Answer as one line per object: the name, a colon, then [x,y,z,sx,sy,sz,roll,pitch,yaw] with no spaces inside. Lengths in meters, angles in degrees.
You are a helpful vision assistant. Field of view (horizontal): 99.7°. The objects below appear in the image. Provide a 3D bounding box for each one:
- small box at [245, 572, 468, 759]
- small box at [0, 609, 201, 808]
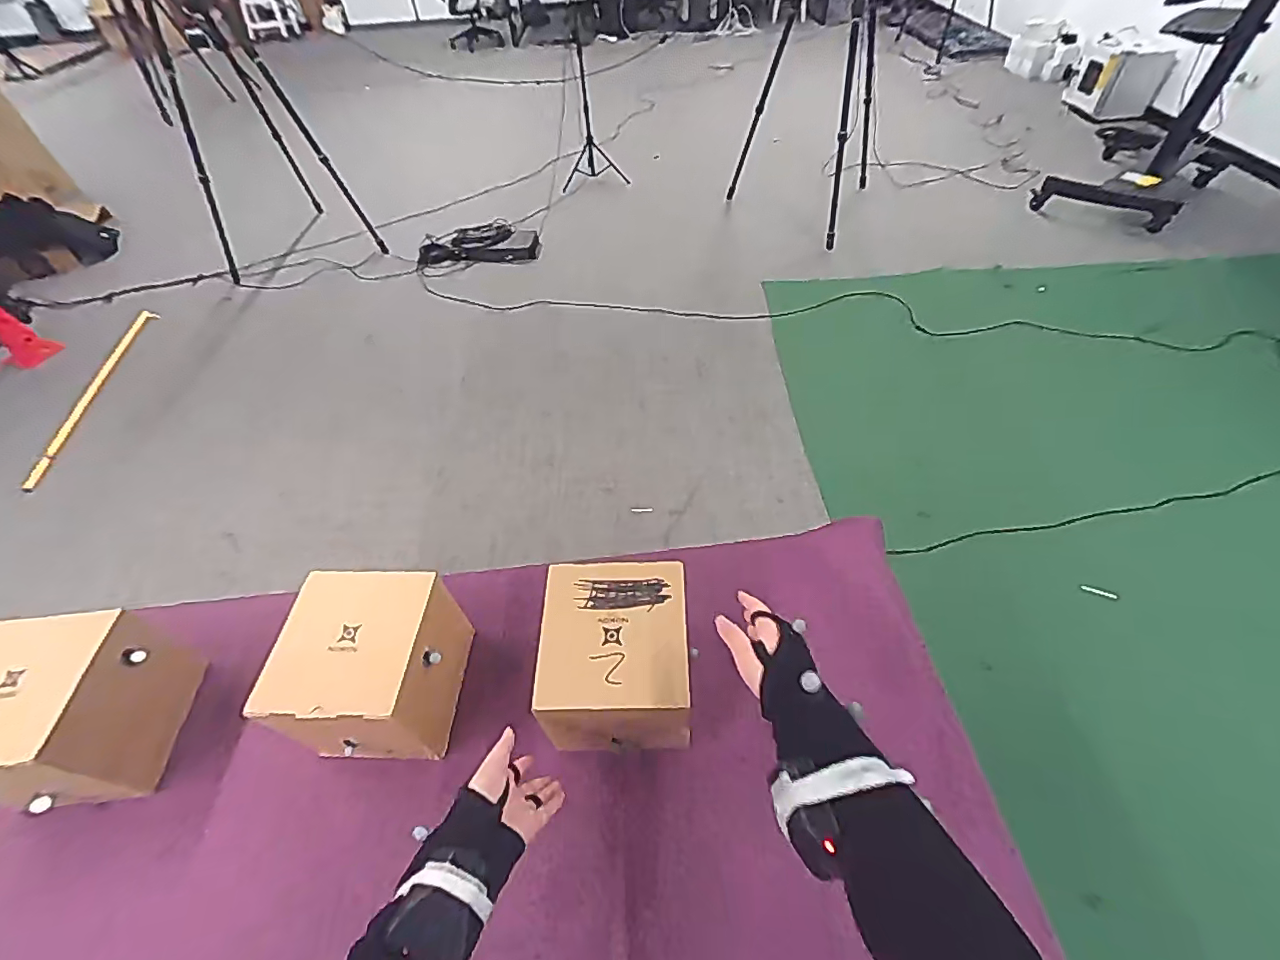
small box: [-0.333,0.234,0.683,0.168,0.176,0.179,0,51,4]
small box: [-0.698,0.281,0.664,0.168,0.176,0.179,-6,50,-1]
